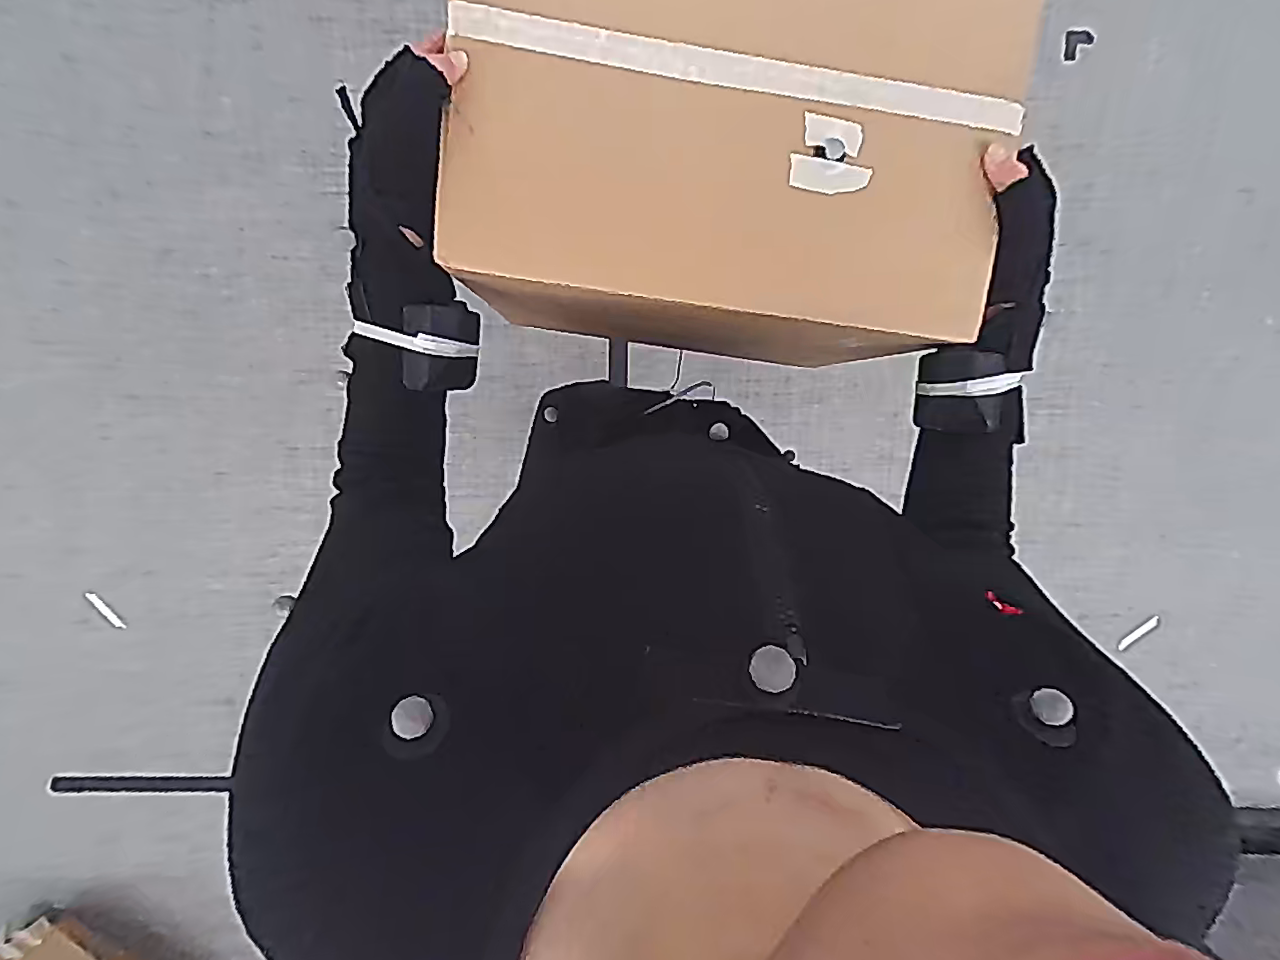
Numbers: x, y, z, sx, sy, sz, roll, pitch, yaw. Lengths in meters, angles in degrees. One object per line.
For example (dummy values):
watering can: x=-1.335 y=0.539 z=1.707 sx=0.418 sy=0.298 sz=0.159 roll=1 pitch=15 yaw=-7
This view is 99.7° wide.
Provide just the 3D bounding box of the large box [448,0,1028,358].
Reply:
large box: x=0.060 y=-0.308 z=0.531 sx=0.408 sy=0.320 sz=0.320 roll=7 pitch=99 yaw=-6
